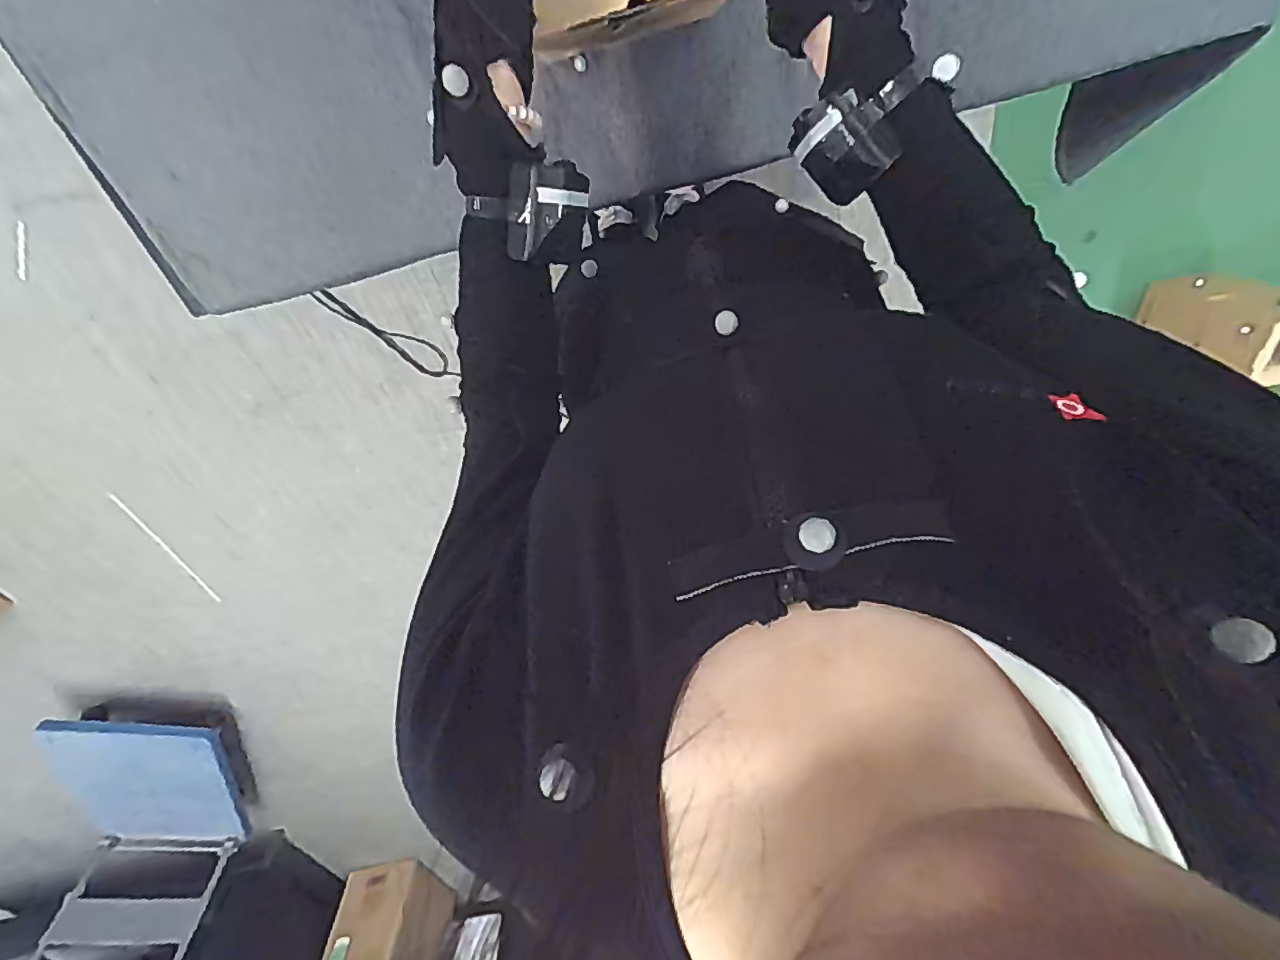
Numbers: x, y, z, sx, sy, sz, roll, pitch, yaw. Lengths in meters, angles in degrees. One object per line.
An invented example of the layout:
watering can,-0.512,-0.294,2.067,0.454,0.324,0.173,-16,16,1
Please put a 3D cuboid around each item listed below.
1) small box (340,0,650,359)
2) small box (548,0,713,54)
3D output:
small box,-0.107,-0.218,0.424,0.176,0.179,0.168,-9,168,26
small box,-0.029,-0.455,0.417,0.168,0.176,0.179,-13,122,5
